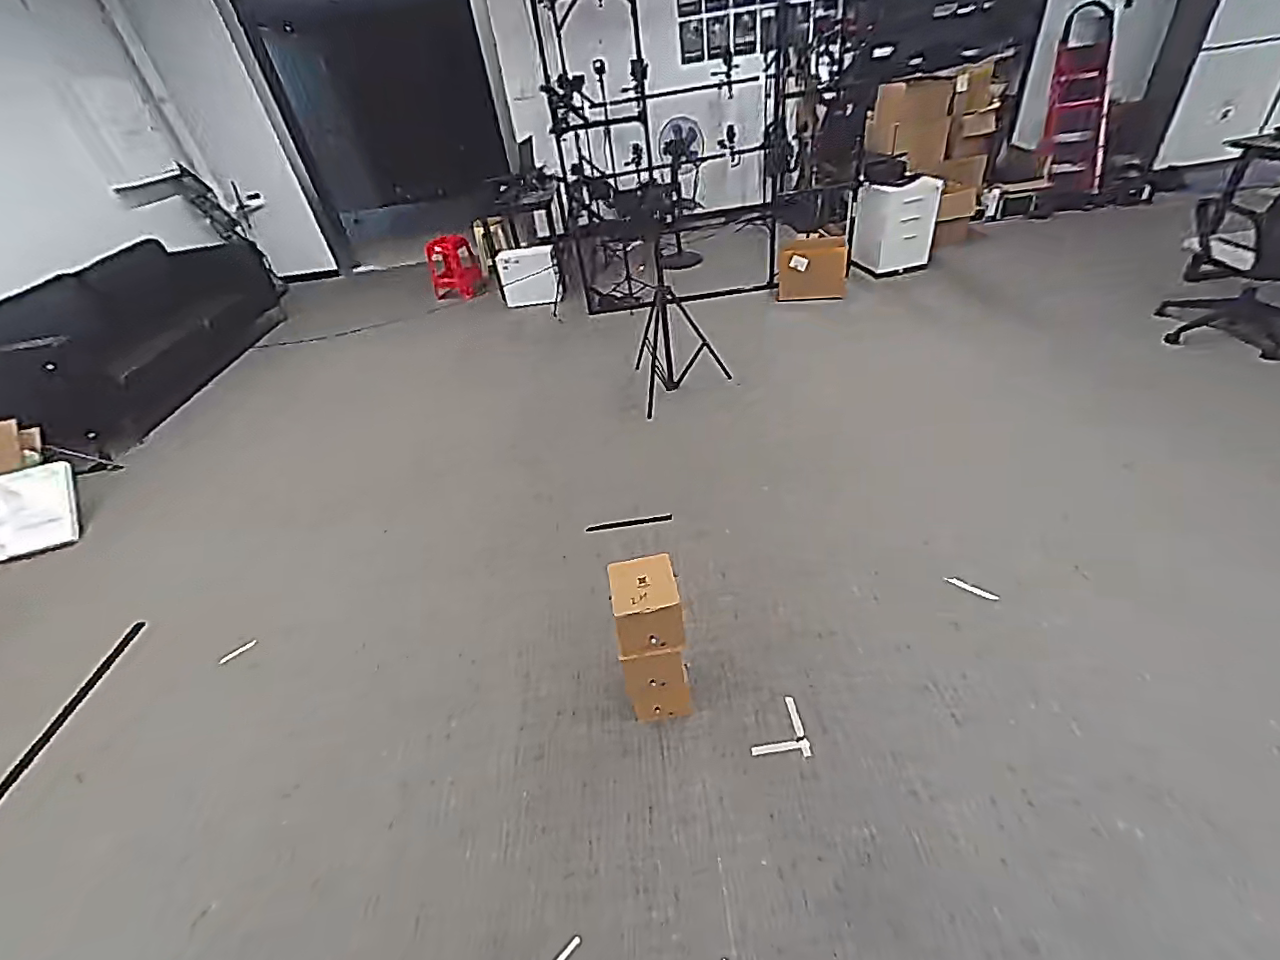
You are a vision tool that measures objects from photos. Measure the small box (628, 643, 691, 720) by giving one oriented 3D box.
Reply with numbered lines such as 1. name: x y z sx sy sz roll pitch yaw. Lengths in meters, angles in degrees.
1. small box: 0.057 0.582 1.606 0.168 0.176 0.179 -9 38 0

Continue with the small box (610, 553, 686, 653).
1. small box: 0.019 0.320 1.409 0.168 0.176 0.179 -11 39 -2
